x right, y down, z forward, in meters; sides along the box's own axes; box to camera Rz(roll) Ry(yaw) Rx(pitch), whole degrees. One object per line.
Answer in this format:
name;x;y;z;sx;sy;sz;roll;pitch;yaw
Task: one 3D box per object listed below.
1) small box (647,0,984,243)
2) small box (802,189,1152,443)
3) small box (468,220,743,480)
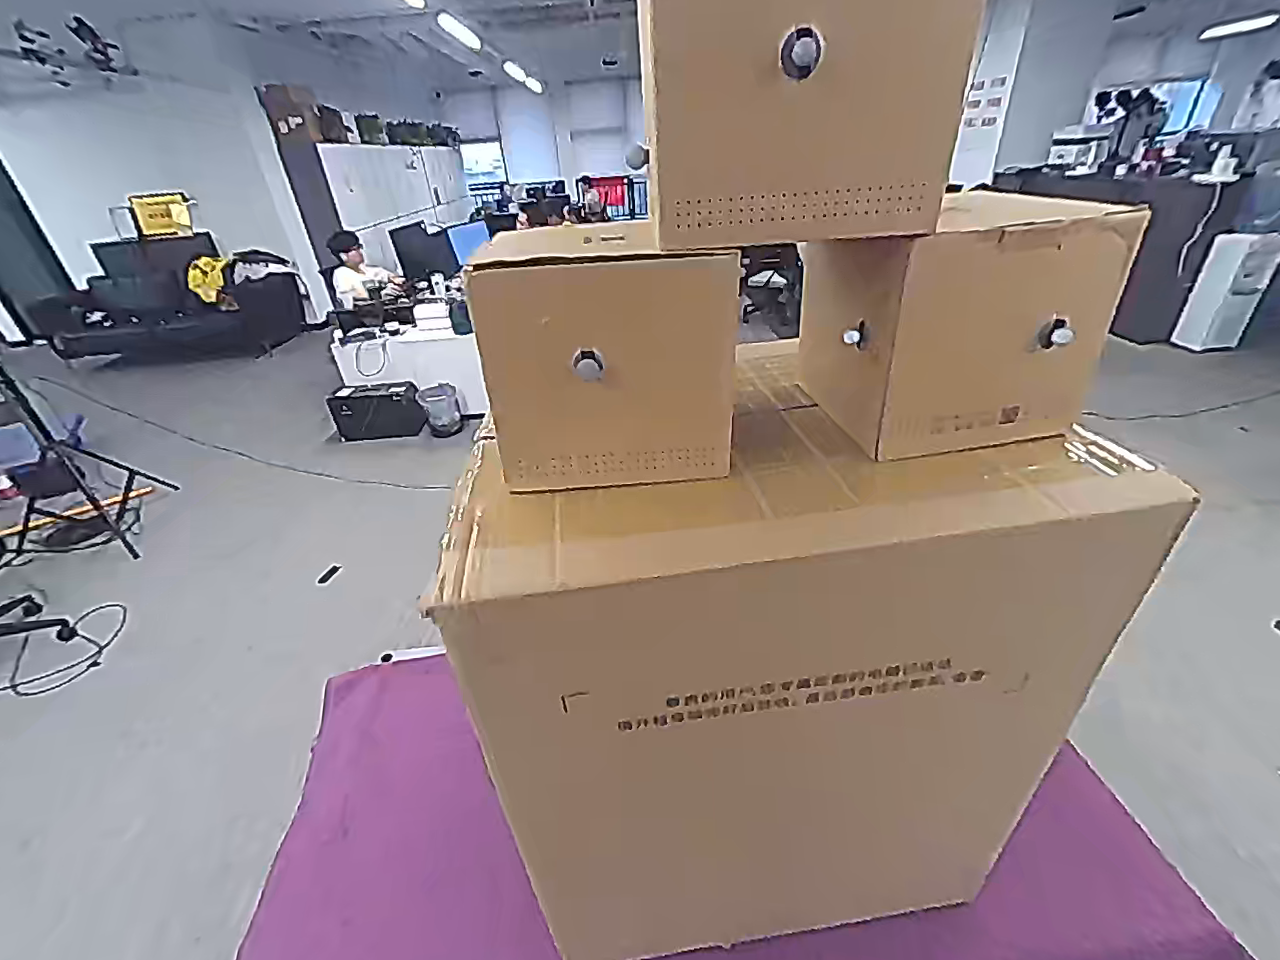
small box;0.095;-0.261;0.359;0.179;0.176;0.168;-4;31;1
small box;0.249;-0.138;0.456;0.168;0.176;0.179;-7;30;-4
small box;-0.021;-0.110;0.442;0.179;0.176;0.168;-4;31;-3
